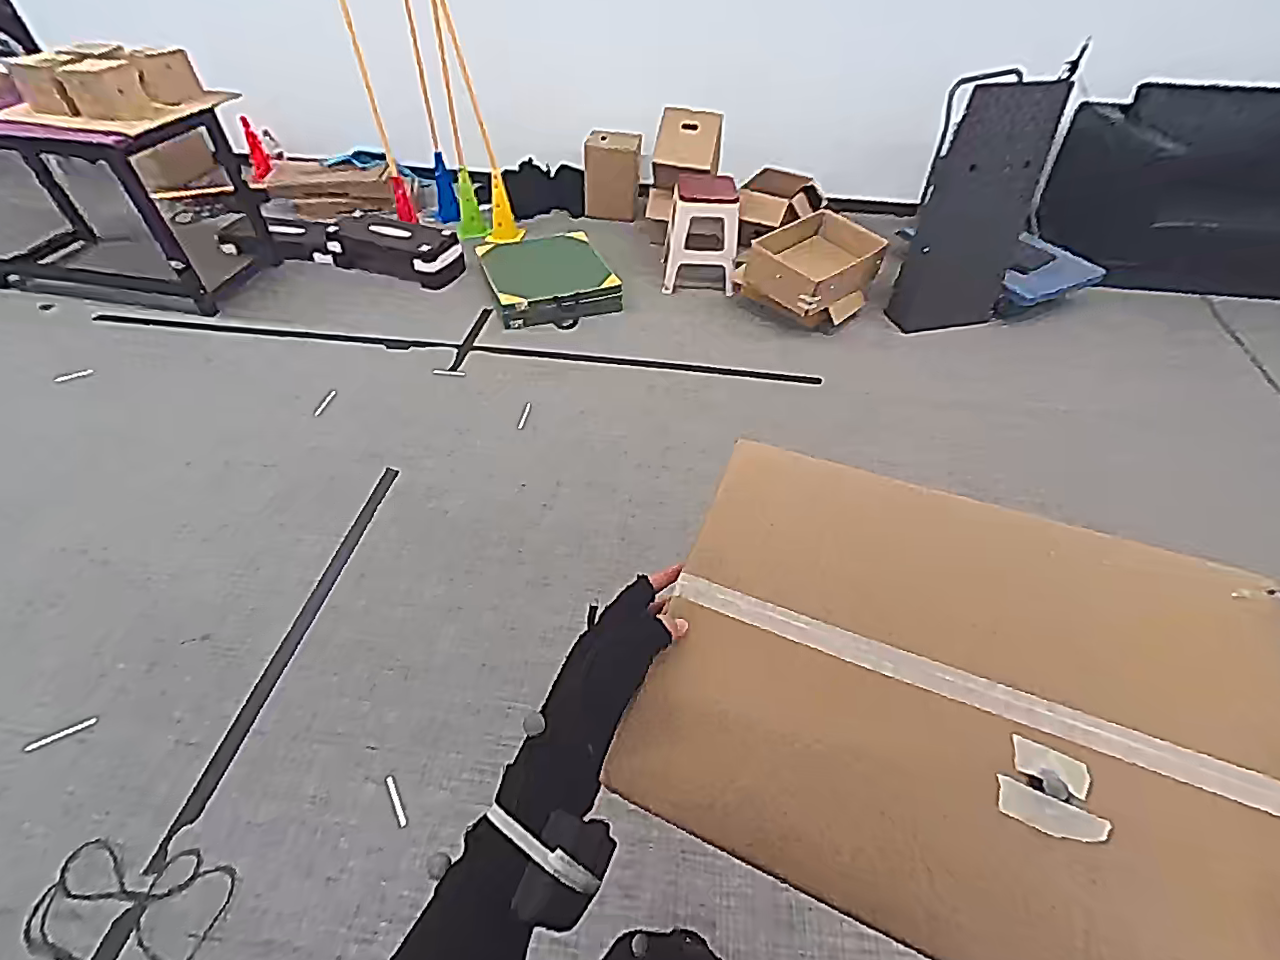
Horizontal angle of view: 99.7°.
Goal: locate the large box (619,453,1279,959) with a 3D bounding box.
[{"bbox_3d":[0.239,0.225,0.521,0.408,0.320,0.320,18,63,19],"label":"large box"}]
